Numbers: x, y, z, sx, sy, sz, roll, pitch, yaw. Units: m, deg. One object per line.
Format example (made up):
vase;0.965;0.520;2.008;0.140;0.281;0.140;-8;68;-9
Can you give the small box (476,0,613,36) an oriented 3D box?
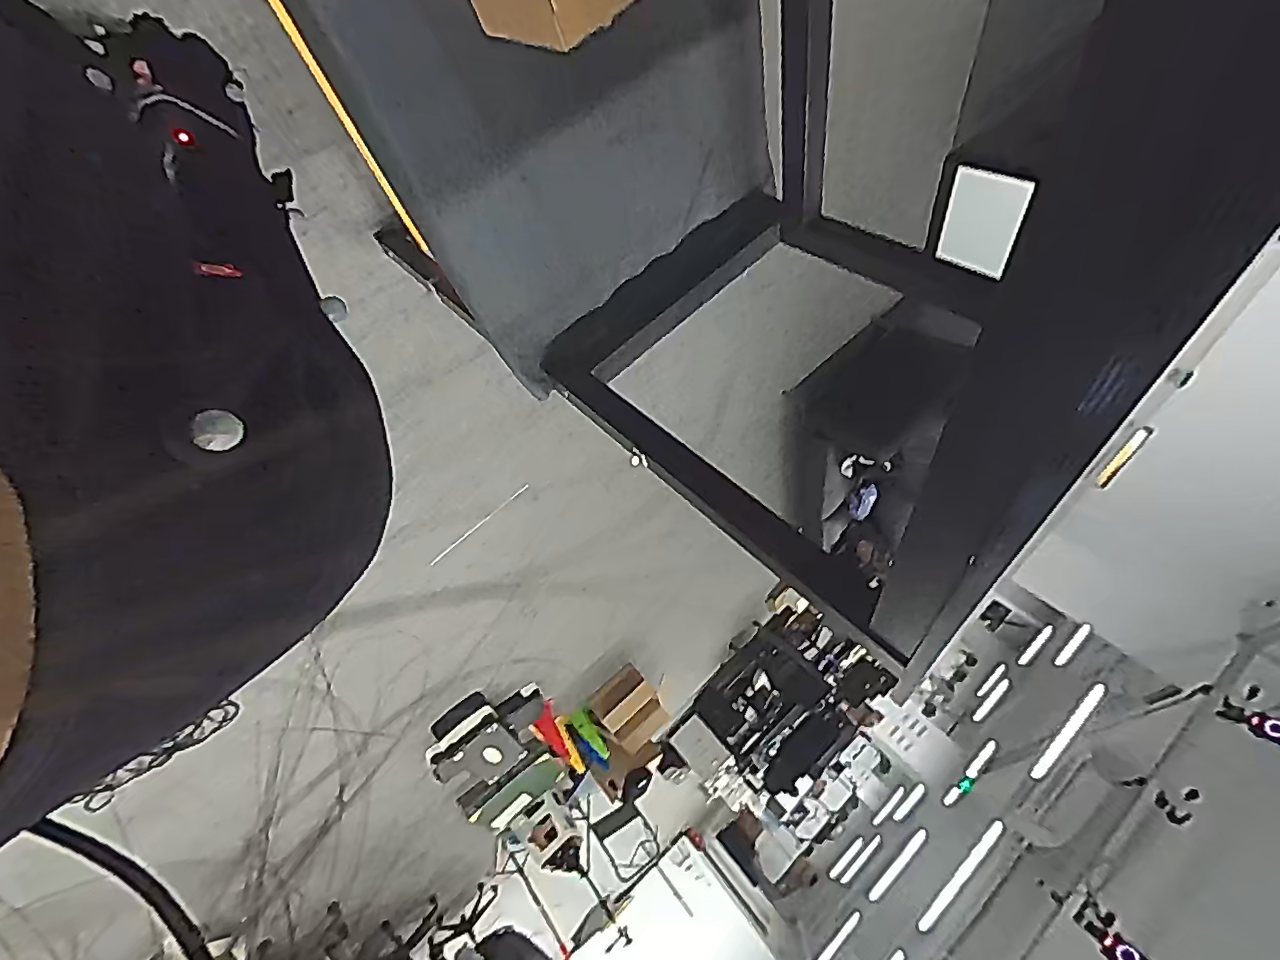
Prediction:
small box;-0.091;-0.590;0.534;0.179;0.176;0.168;-43;148;-8
